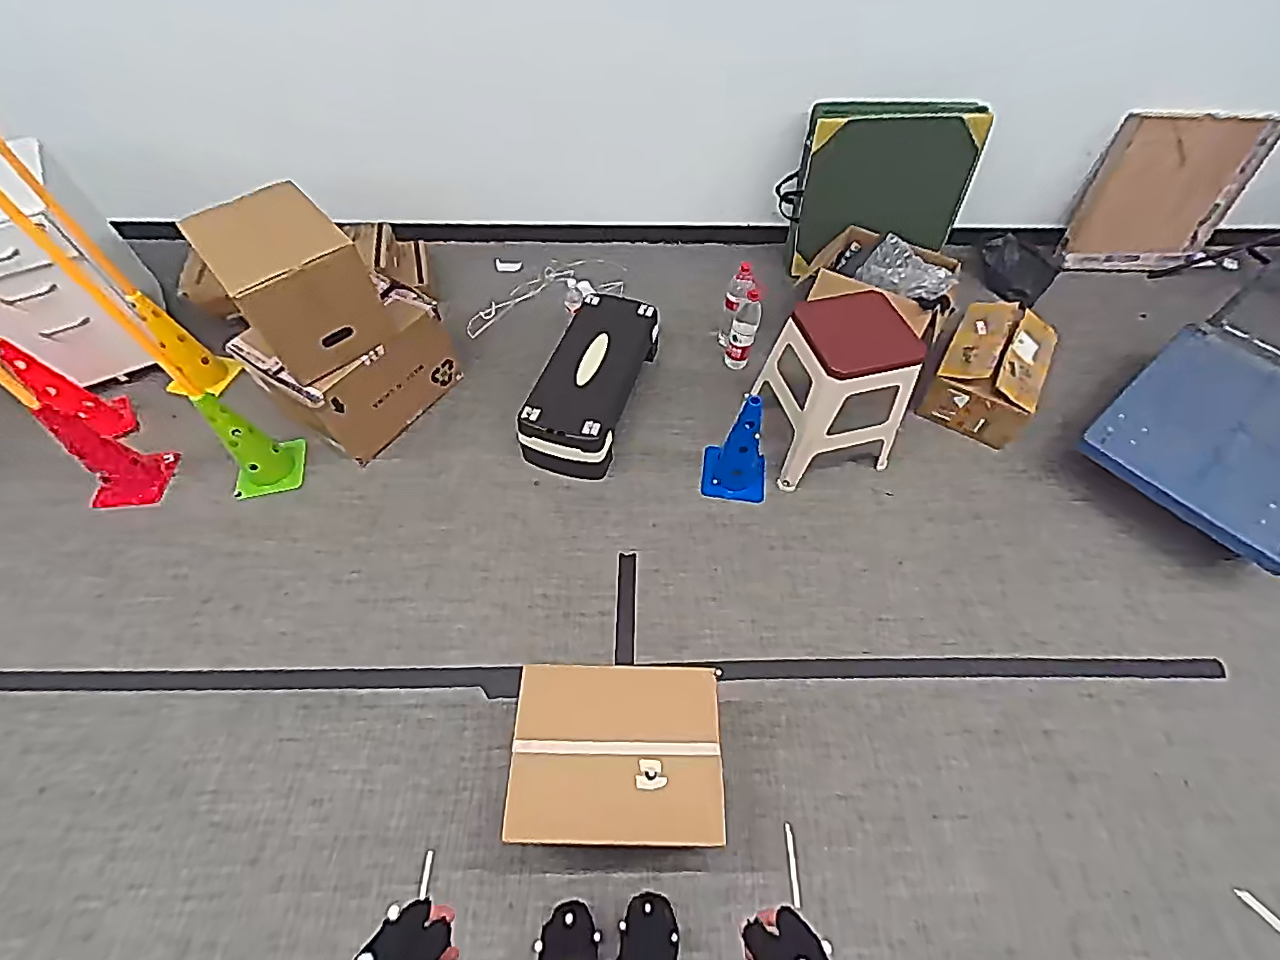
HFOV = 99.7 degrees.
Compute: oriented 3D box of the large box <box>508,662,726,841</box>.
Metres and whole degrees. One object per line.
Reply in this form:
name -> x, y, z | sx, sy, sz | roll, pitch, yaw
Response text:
large box -> -0.048, 0.599, 1.180 | 0.408, 0.320, 0.320 | 2, 57, -1
